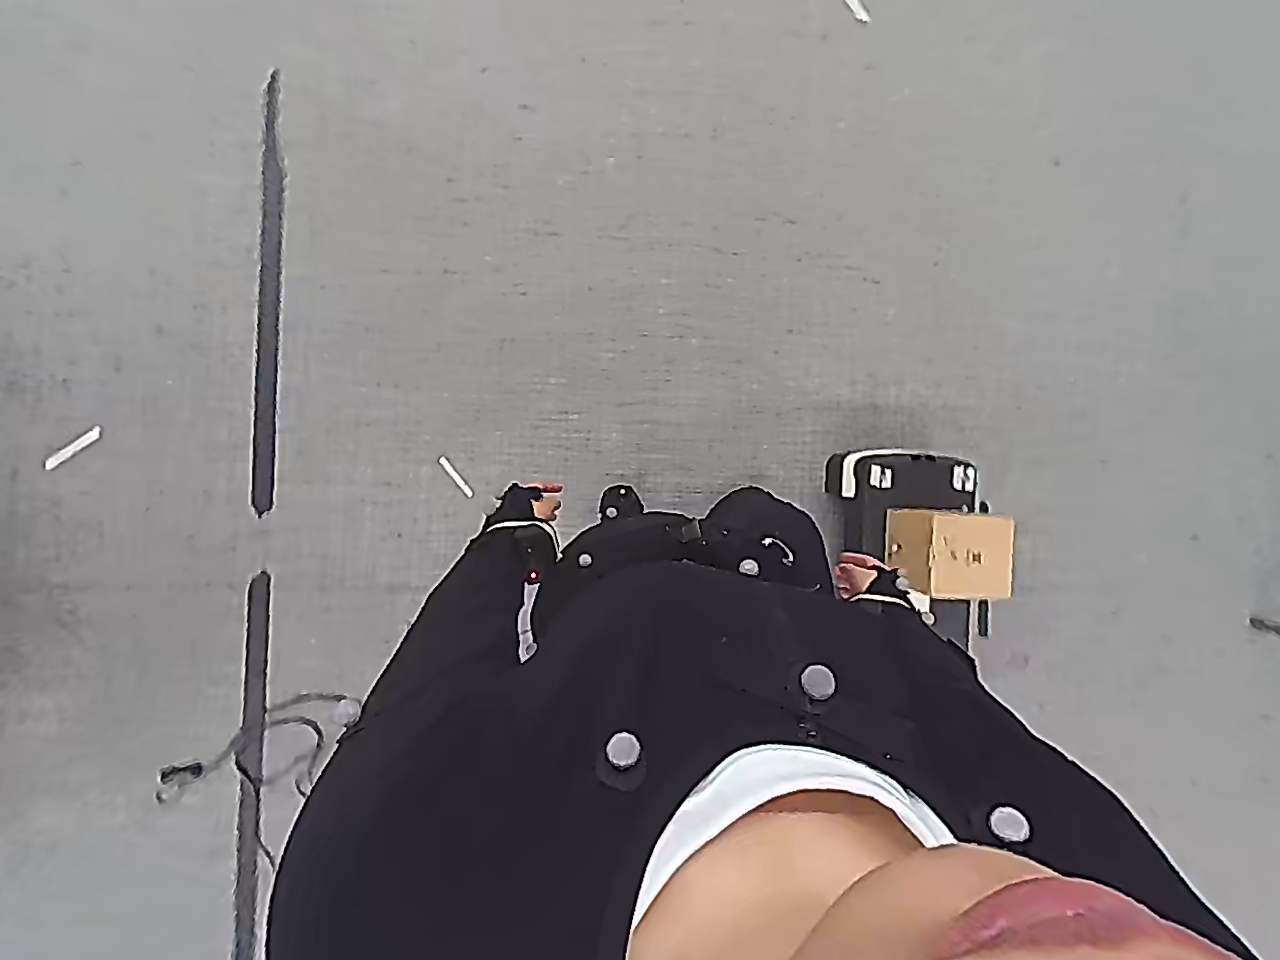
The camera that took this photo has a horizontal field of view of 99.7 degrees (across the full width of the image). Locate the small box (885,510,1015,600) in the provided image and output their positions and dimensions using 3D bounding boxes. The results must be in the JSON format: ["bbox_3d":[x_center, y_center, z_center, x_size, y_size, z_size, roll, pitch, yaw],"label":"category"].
[{"bbox_3d":[0.652,0.153,1.151,0.179,0.176,0.168,3,90,-5],"label":"small box"}]

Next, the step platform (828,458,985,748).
[{"bbox_3d":[0.650,0.287,1.327,0.286,0.204,0.684,2,90,-6],"label":"step platform"}]
